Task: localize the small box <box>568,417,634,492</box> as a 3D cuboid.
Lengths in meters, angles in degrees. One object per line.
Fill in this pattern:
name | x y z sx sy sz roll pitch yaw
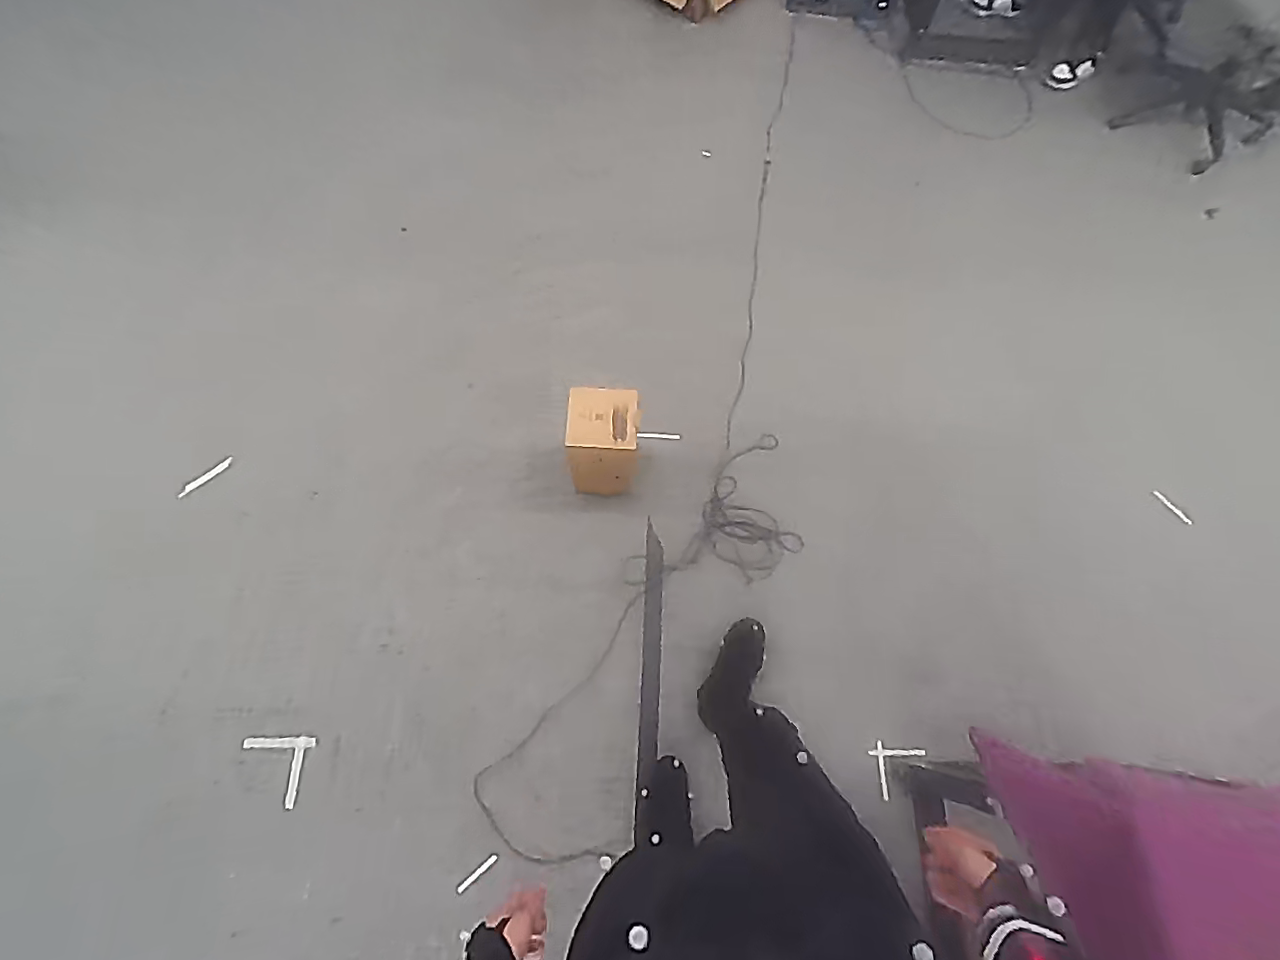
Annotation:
small box | -0.107 -0.067 1.548 0.179 0.176 0.168 1 70 -2
